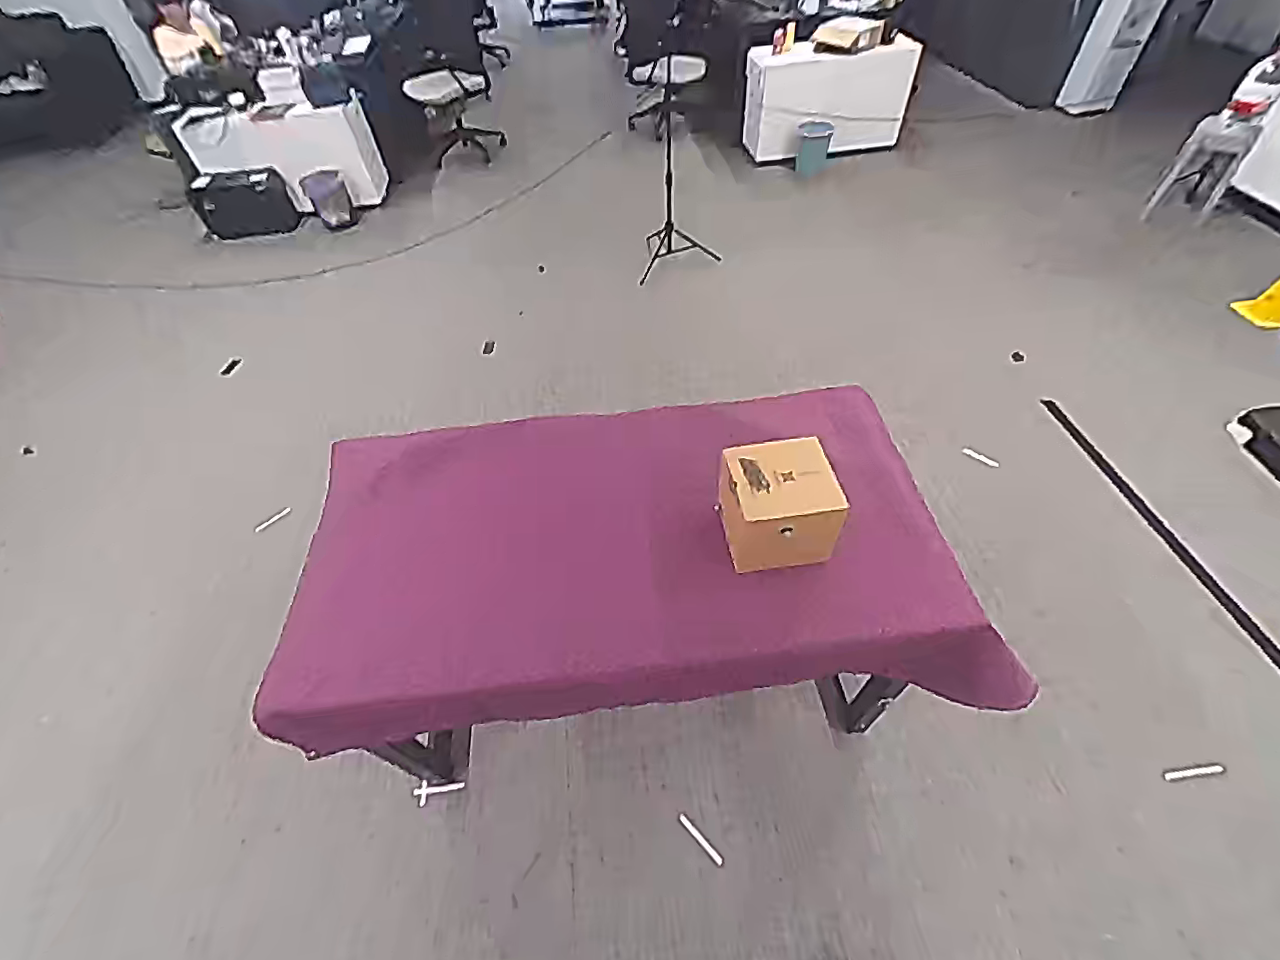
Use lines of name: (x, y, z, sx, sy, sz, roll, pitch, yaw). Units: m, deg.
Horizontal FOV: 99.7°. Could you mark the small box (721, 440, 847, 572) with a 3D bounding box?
small box: (0.247, 0.052, 0.981, 0.179, 0.176, 0.168, -7, 50, -2)
